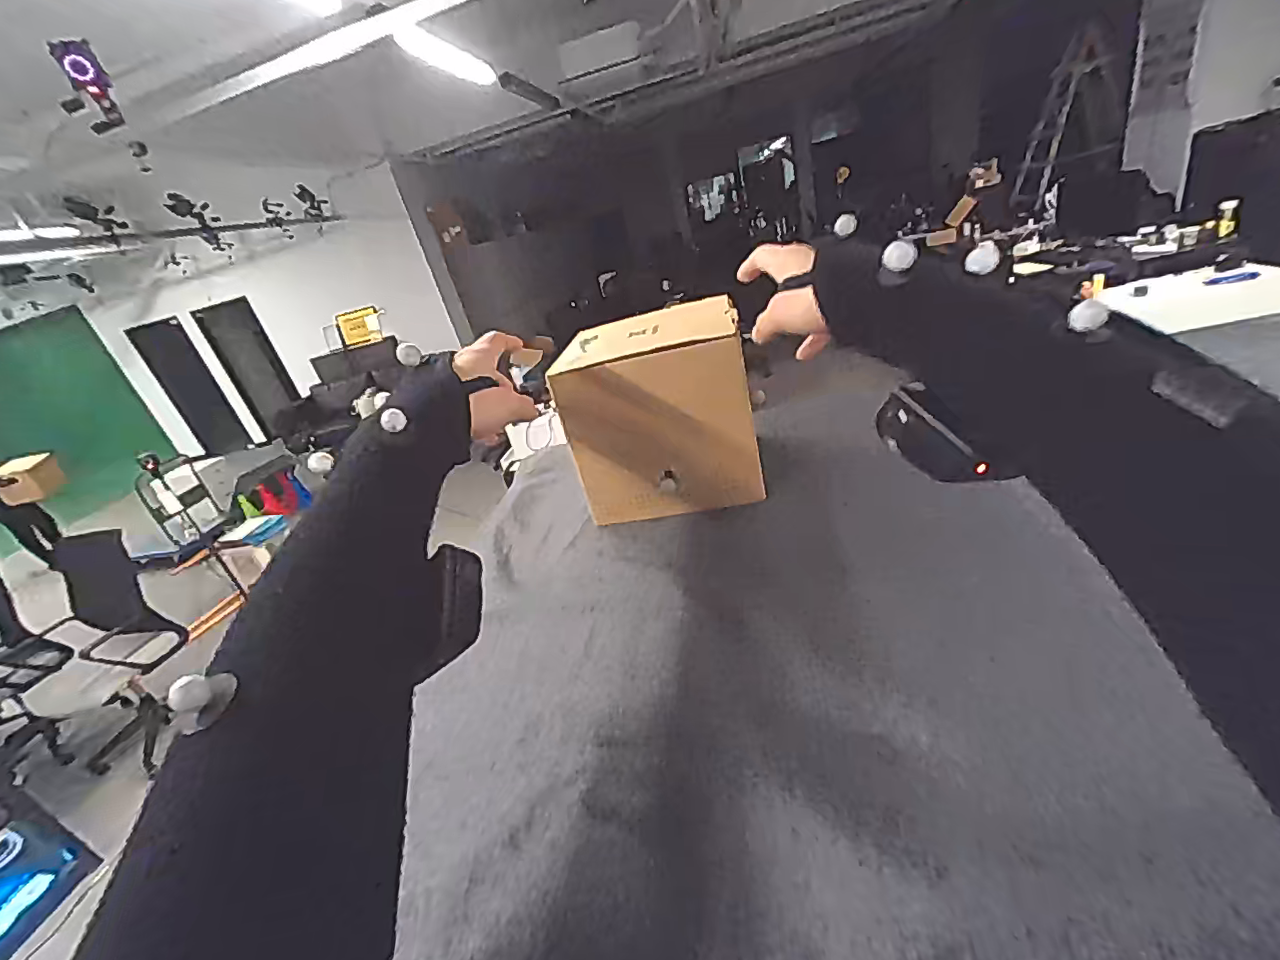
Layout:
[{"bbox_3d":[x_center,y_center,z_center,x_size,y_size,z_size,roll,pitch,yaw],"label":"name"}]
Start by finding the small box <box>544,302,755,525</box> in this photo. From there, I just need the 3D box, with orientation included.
[{"bbox_3d":[0.024,-0.071,0.569,0.179,0.176,0.168,-9,27,11],"label":"small box"}]
